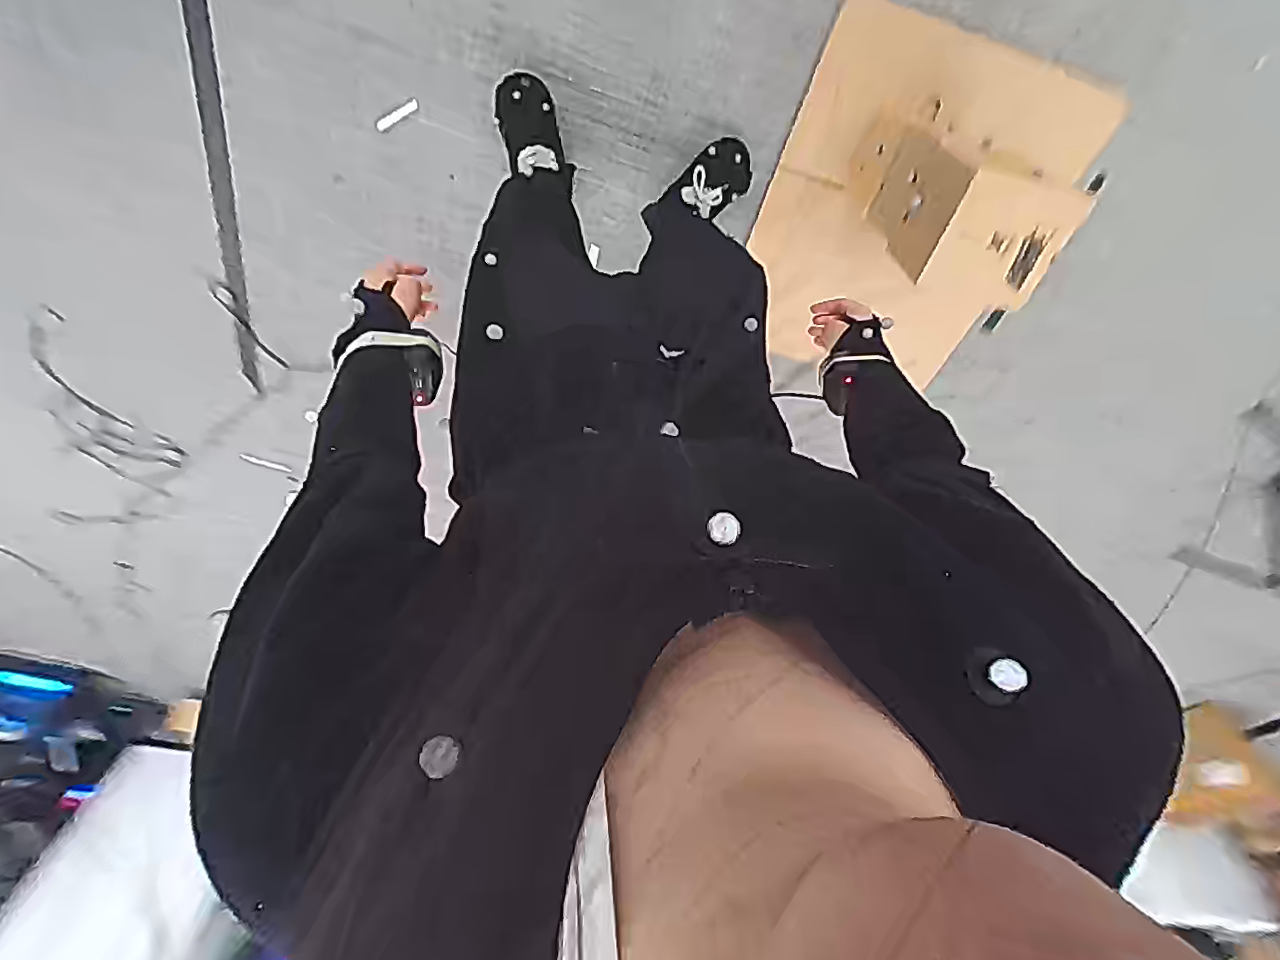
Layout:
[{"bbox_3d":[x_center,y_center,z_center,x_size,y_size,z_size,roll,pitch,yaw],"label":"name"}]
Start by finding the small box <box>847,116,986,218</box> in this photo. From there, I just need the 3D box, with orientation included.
[{"bbox_3d":[0.540,-0.604,1.076,0.179,0.176,0.168,13,130,-6],"label":"small box"}]

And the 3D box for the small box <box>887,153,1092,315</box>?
[{"bbox_3d":[0.518,-0.383,0.834,0.179,0.176,0.168,13,130,-5],"label":"small box"}]

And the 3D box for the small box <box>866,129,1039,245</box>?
[{"bbox_3d":[0.533,-0.497,0.952,0.179,0.176,0.168,12,130,-6],"label":"small box"}]
